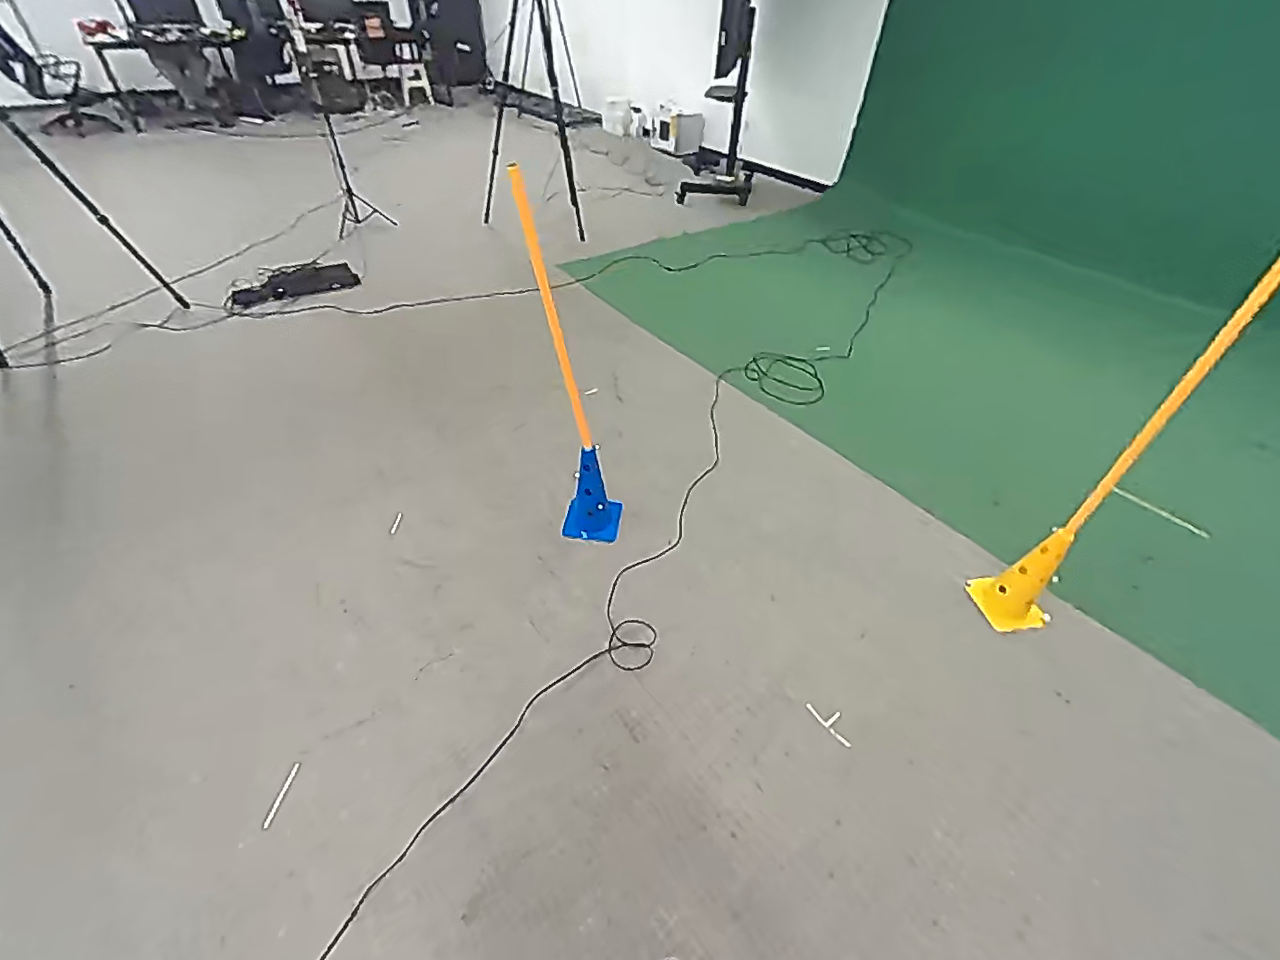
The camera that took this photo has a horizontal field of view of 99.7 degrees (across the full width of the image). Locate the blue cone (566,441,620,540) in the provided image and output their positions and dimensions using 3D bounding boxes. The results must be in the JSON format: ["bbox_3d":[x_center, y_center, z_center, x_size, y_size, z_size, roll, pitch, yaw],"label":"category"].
[{"bbox_3d":[-0.170,0.026,1.877,0.193,0.380,0.192,5,44,4],"label":"blue cone"}]
